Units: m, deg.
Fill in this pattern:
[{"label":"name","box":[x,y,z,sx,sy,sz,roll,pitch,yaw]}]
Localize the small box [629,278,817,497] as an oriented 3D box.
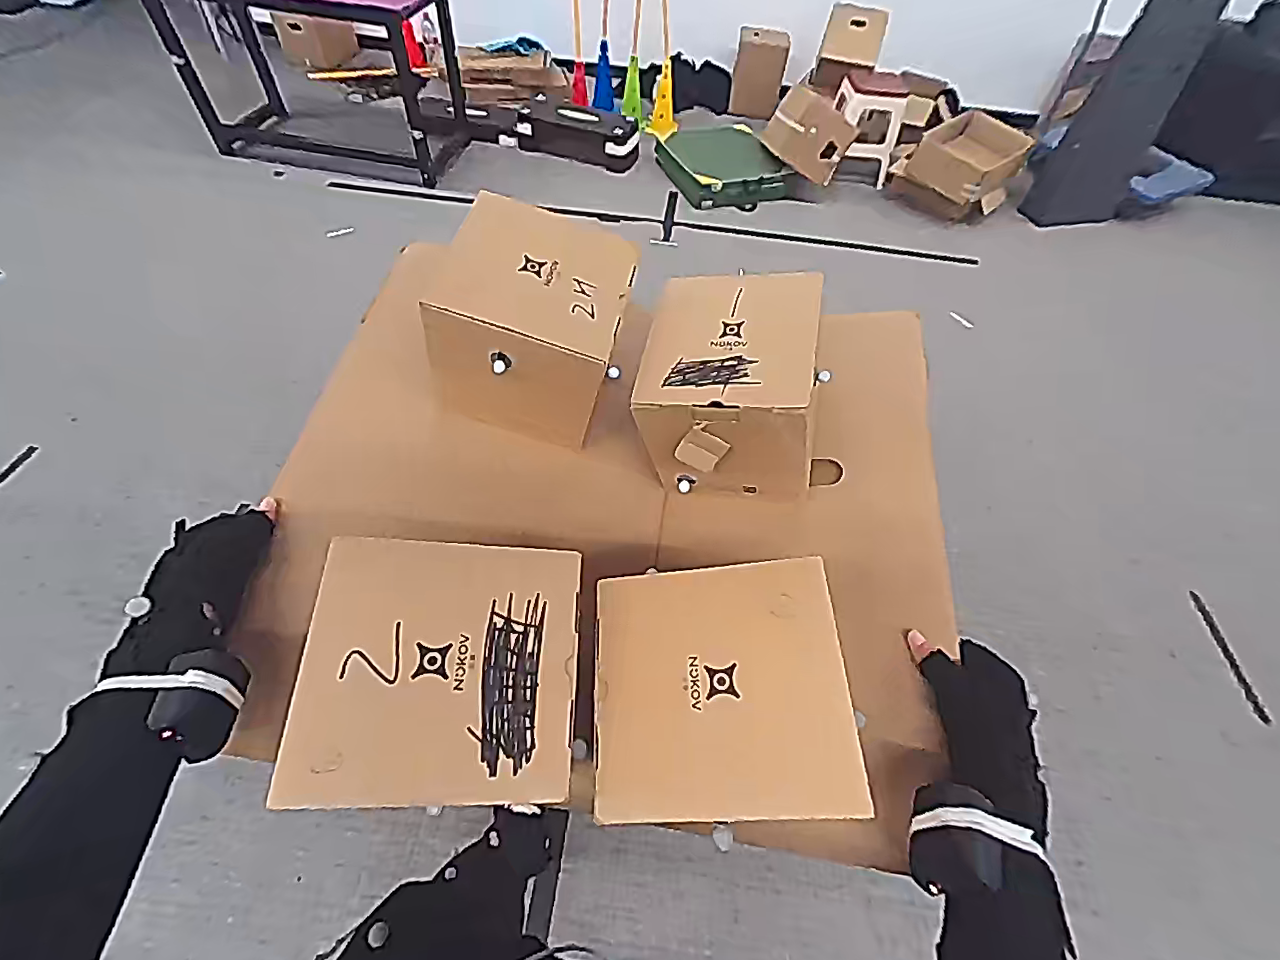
[{"label":"small box","box":[0.104,-0.097,0.604,0.168,0.176,0.179,5,60,19]}]
